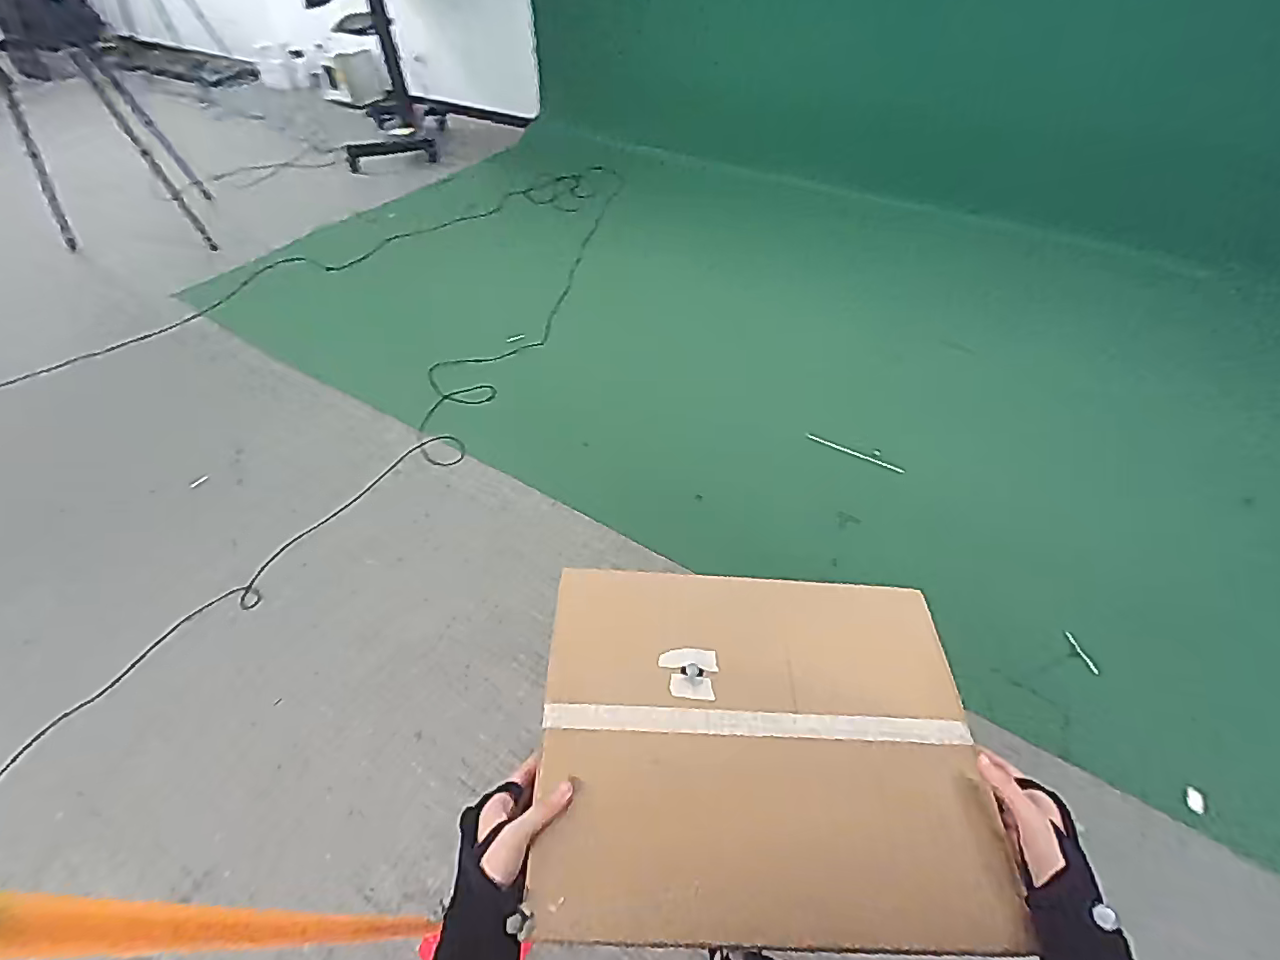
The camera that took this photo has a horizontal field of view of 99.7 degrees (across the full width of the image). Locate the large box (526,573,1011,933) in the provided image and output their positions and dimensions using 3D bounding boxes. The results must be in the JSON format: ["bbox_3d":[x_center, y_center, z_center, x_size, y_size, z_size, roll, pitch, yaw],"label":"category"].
[{"bbox_3d":[0.100,0.322,0.637,0.408,0.320,0.320,3,51,-3],"label":"large box"}]
